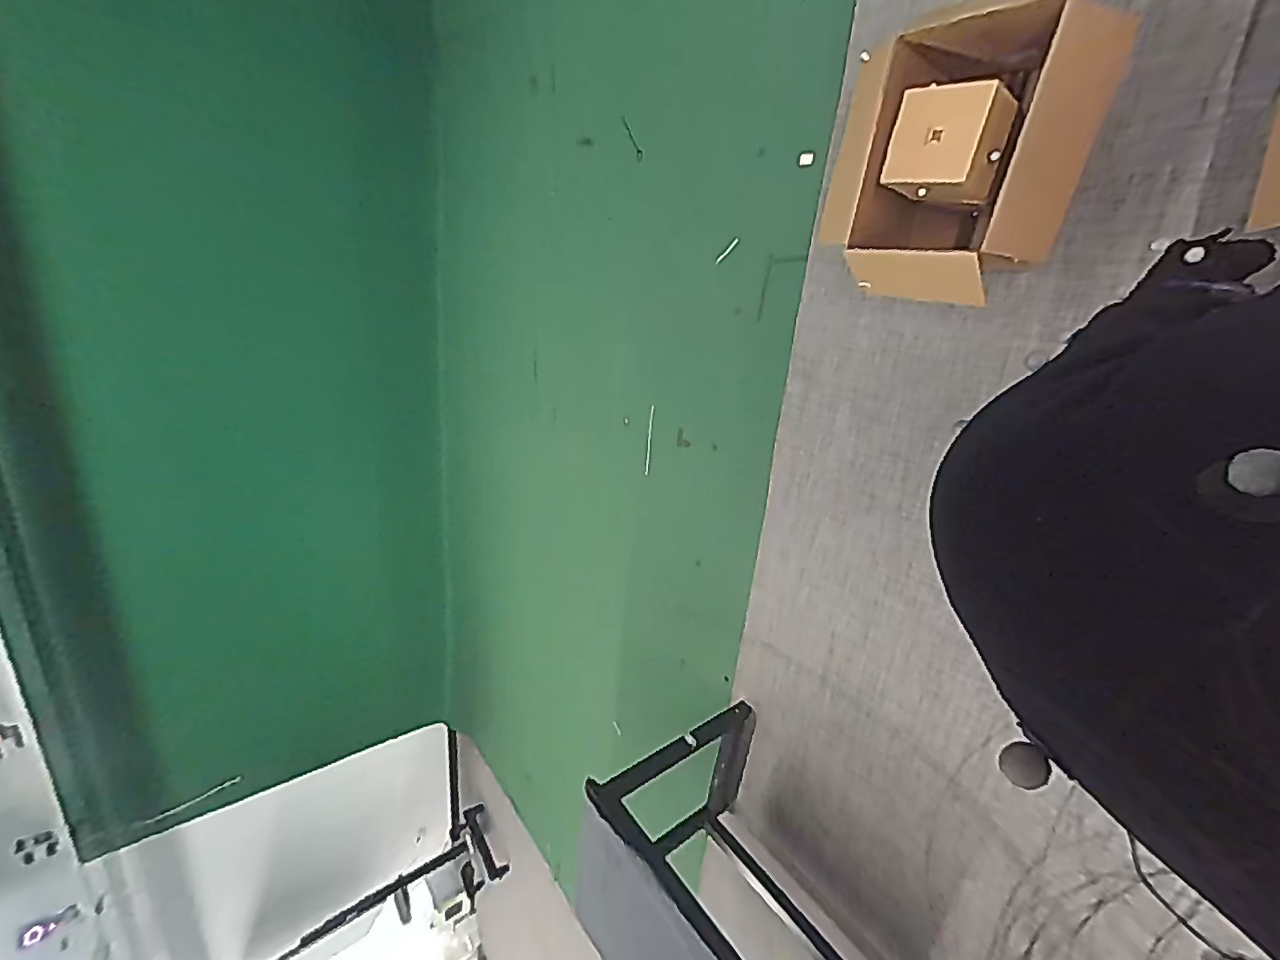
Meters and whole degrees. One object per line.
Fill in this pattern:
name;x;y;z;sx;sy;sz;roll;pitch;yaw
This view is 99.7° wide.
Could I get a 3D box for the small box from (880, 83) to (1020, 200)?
small box;0.629;-0.676;1.097;0.179;0.176;0.168;30;119;43
